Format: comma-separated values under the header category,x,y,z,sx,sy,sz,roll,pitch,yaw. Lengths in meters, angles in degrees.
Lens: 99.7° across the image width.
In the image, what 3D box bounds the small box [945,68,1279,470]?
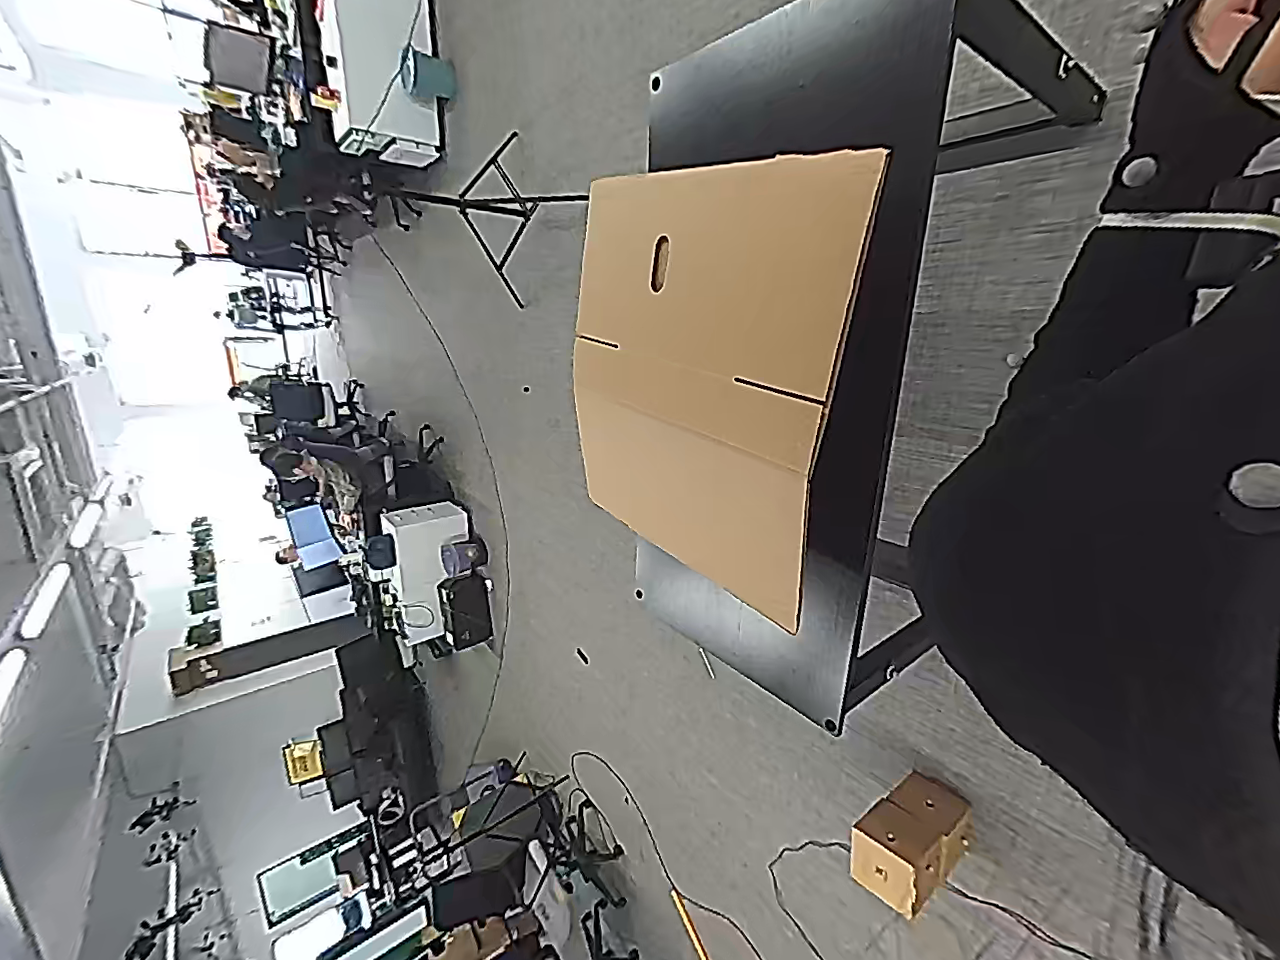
category,x,y,z,sx,sy,sz,roll,pitch,yaw
small box,0.366,-0.125,0.393,0.168,0.179,0.176,-29,72,8

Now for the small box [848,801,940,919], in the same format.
category,x,y,z,sx,sy,sz,roll,pitch,yaw
small box,0.700,1.033,1.490,0.179,0.176,0.168,12,107,52

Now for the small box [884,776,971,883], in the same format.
category,x,y,z,sx,sy,sz,roll,pitch,yaw
small box,0.832,1.008,1.583,0.179,0.176,0.168,16,111,49
